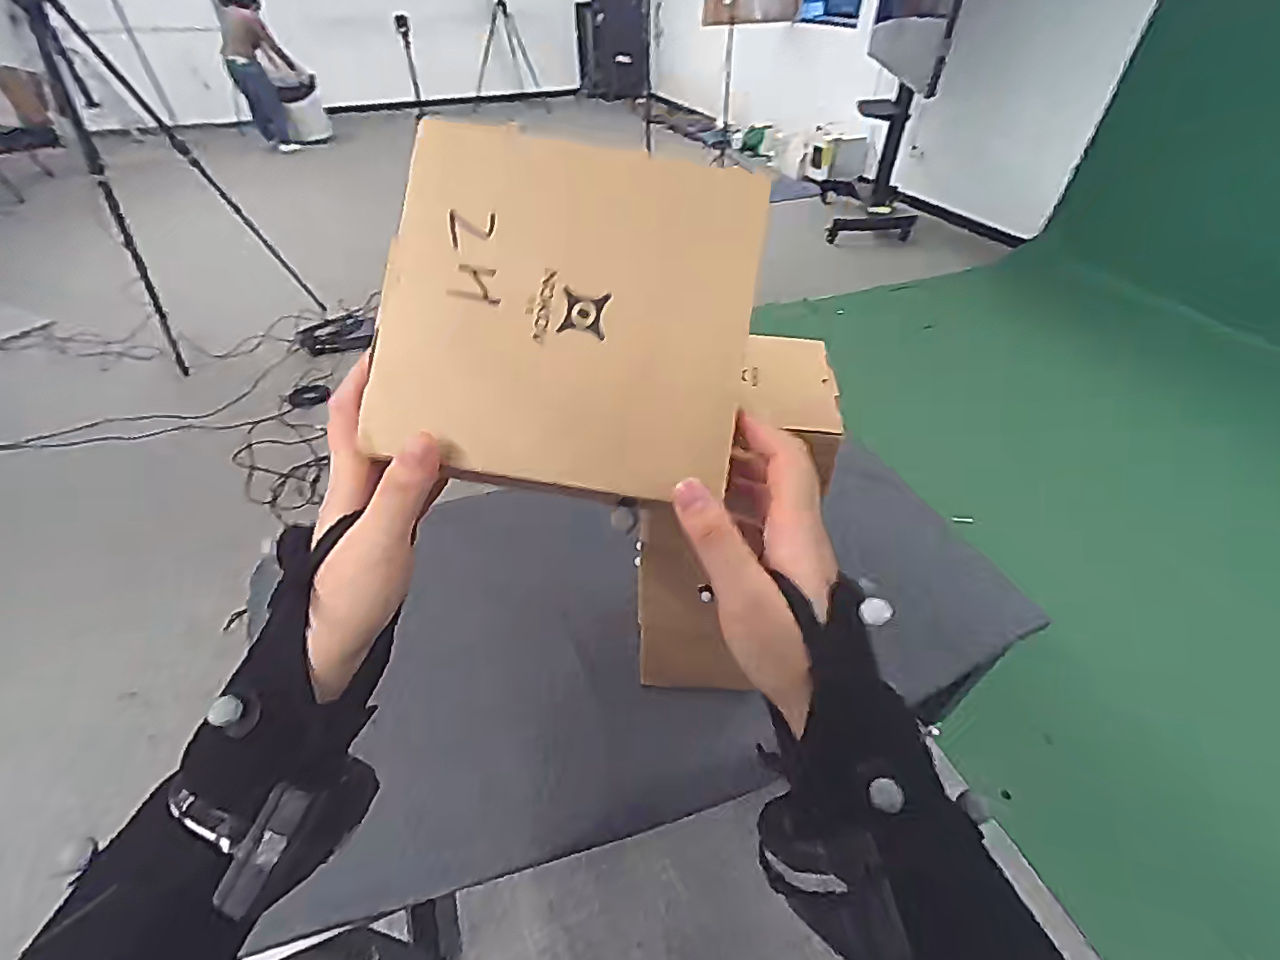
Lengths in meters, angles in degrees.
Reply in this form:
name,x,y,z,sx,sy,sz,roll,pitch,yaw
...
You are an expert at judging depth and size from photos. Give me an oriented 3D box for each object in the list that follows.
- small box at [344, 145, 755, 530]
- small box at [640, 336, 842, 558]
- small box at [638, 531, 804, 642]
name,x,y,z,sx,sy,sz,roll,pitch,yaw
small box,-0.043,-0.064,0.338,0.179,0.176,0.168,9,84,-1
small box,0.094,-0.036,0.565,0.179,0.176,0.168,6,43,6
small box,0.097,0.082,0.676,0.179,0.176,0.168,7,43,8
